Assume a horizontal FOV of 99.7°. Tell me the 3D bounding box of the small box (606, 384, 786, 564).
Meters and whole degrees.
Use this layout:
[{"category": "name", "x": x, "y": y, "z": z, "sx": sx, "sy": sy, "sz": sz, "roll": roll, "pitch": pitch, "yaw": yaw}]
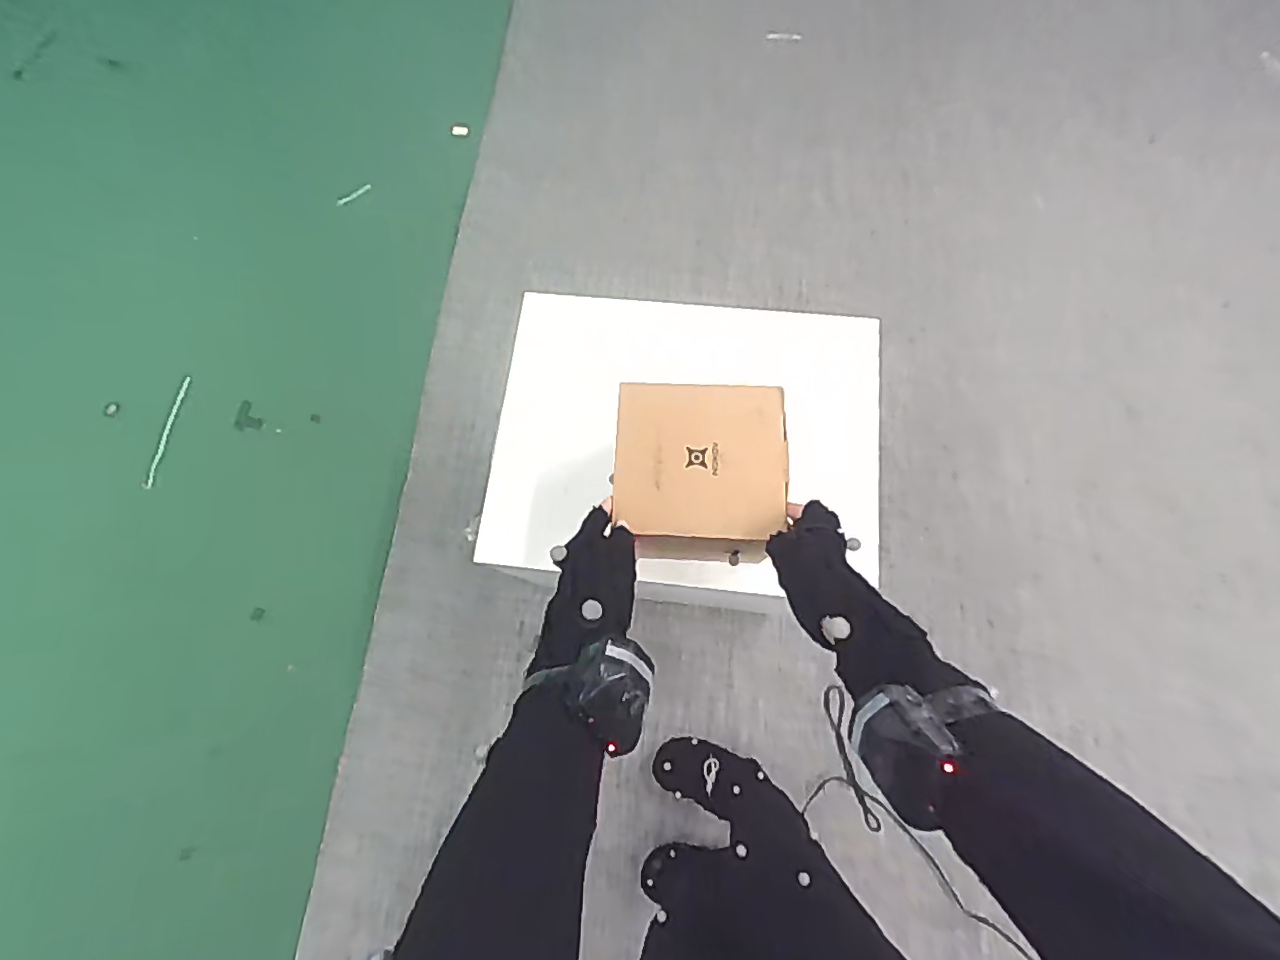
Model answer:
[{"category": "small box", "x": 0.062, "y": 0.002, "z": 0.619, "sx": 0.179, "sy": 0.176, "sz": 0.168, "roll": 1, "pitch": 73, "yaw": 5}]
